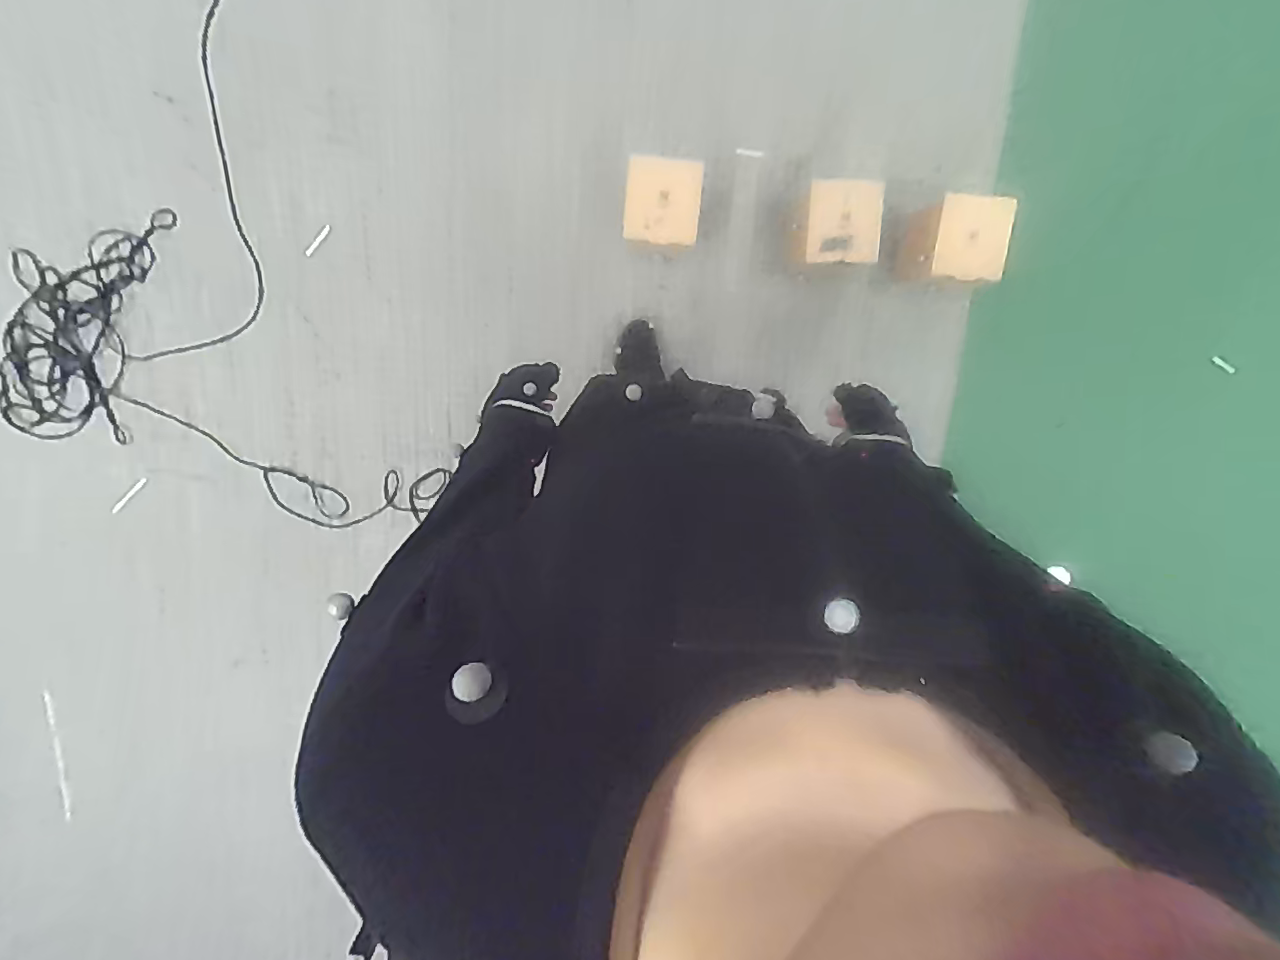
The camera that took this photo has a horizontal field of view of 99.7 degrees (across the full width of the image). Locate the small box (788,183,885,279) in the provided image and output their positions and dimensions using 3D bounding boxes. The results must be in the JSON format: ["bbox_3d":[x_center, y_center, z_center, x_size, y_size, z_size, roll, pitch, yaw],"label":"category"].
[{"bbox_3d":[0.455,-0.578,1.278,0.168,0.176,0.179,0,100,-1],"label":"small box"}]

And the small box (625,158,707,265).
[{"bbox_3d":[0.055,-0.620,1.265,0.168,0.176,0.179,6,101,0],"label":"small box"}]

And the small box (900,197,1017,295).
[{"bbox_3d":[0.746,-0.549,1.287,0.168,0.176,0.179,4,101,-1],"label":"small box"}]
